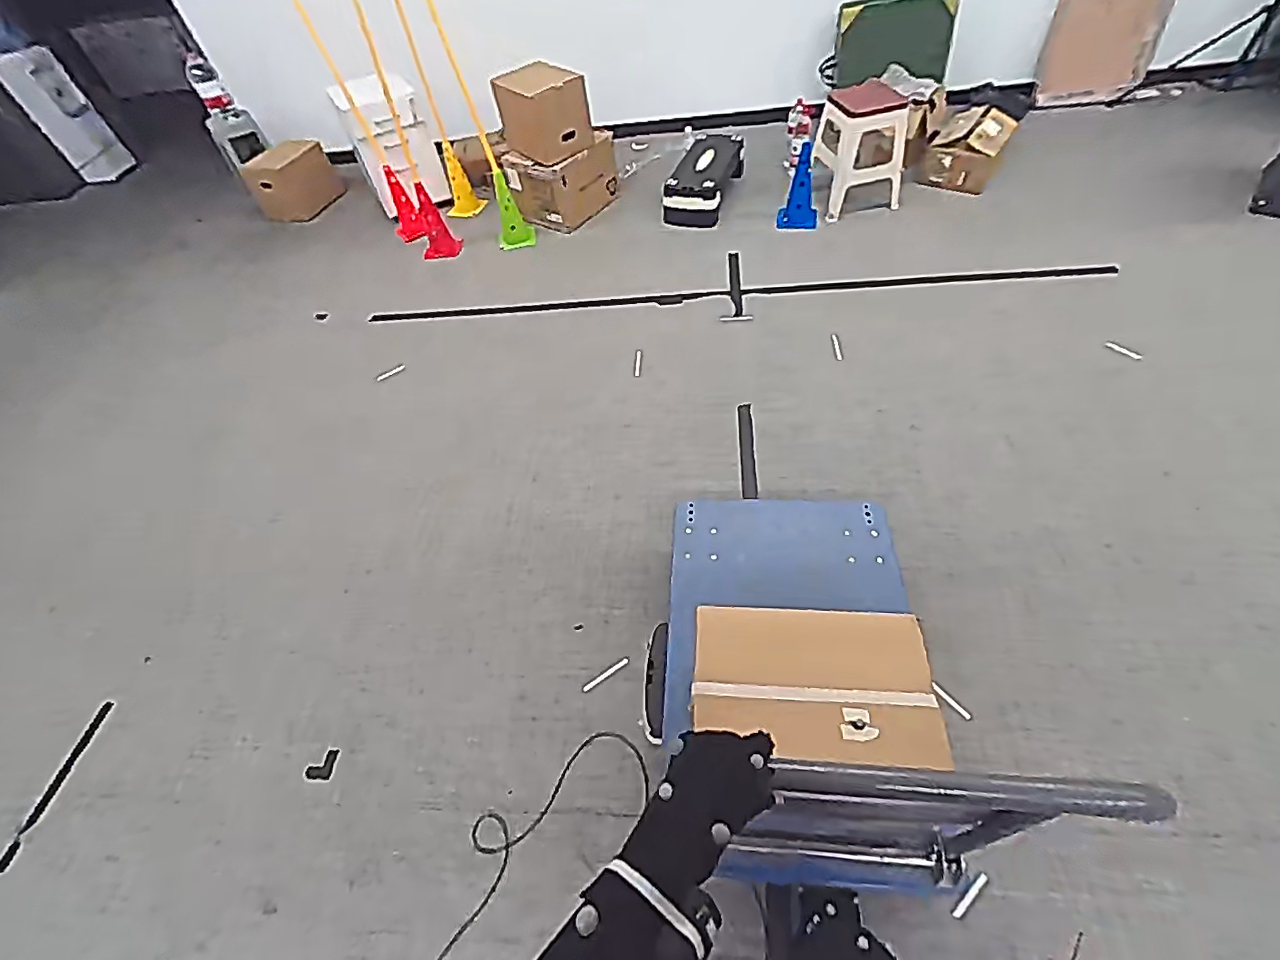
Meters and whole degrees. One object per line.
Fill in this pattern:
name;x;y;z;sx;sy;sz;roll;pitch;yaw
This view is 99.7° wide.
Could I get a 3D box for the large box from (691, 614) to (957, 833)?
large box;0.301;0.468;1.036;0.408;0.320;0.320;1;53;6
